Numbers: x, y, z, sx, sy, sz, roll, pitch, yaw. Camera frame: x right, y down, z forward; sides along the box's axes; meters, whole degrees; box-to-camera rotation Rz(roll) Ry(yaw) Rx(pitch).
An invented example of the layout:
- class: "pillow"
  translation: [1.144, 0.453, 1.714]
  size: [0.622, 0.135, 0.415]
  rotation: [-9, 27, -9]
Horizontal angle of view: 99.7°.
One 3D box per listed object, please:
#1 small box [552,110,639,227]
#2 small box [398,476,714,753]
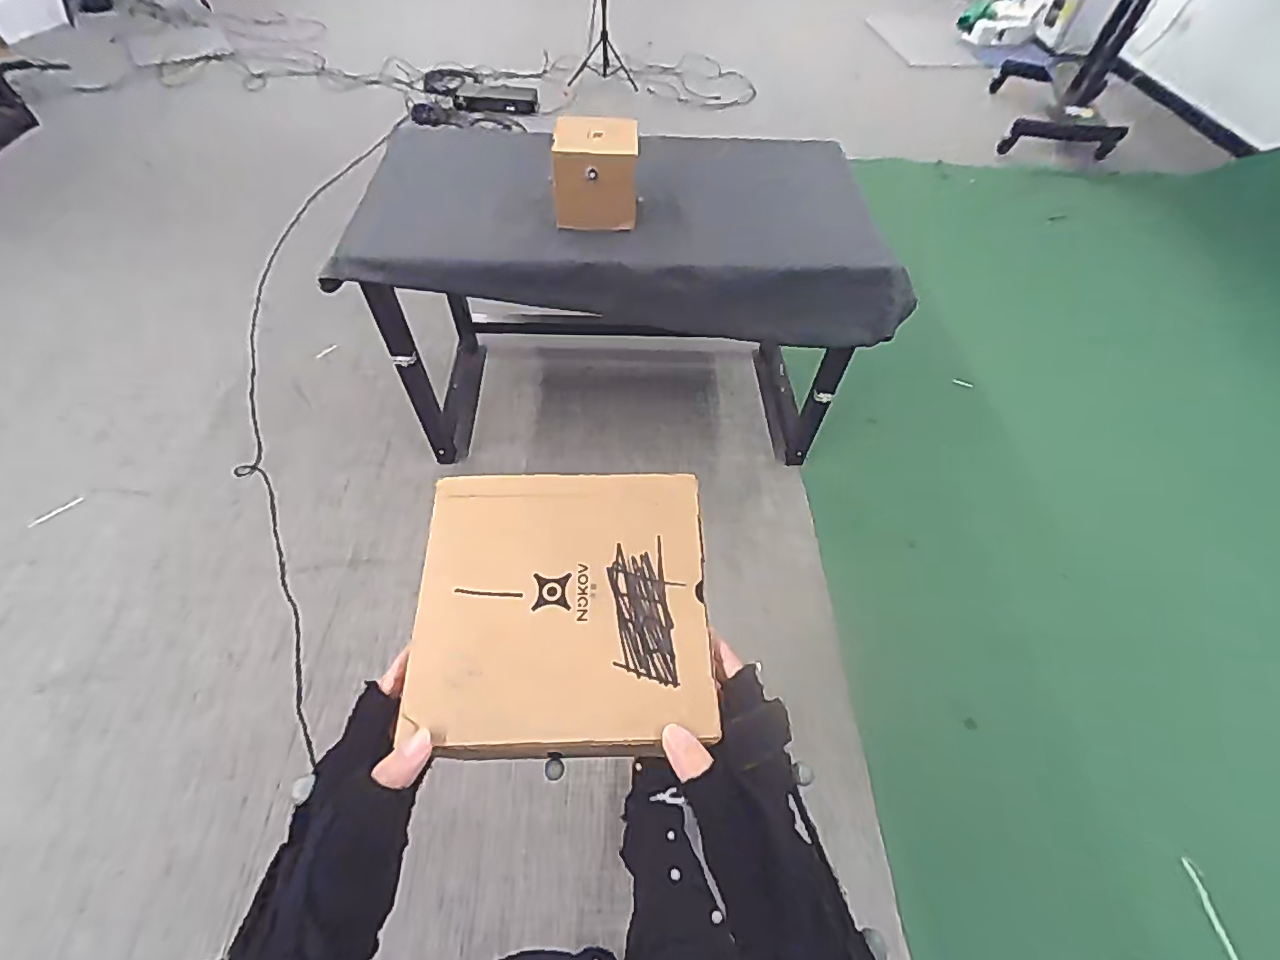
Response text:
- class: "small box"
  translation: [-0.094, -0.678, 1.184]
  size: [0.179, 0.176, 0.168]
  rotation: [1, 56, -4]
- class: "small box"
  translation: [-0.051, 0.108, 0.404]
  size: [0.179, 0.176, 0.168]
  rotation: [0, 62, -3]
